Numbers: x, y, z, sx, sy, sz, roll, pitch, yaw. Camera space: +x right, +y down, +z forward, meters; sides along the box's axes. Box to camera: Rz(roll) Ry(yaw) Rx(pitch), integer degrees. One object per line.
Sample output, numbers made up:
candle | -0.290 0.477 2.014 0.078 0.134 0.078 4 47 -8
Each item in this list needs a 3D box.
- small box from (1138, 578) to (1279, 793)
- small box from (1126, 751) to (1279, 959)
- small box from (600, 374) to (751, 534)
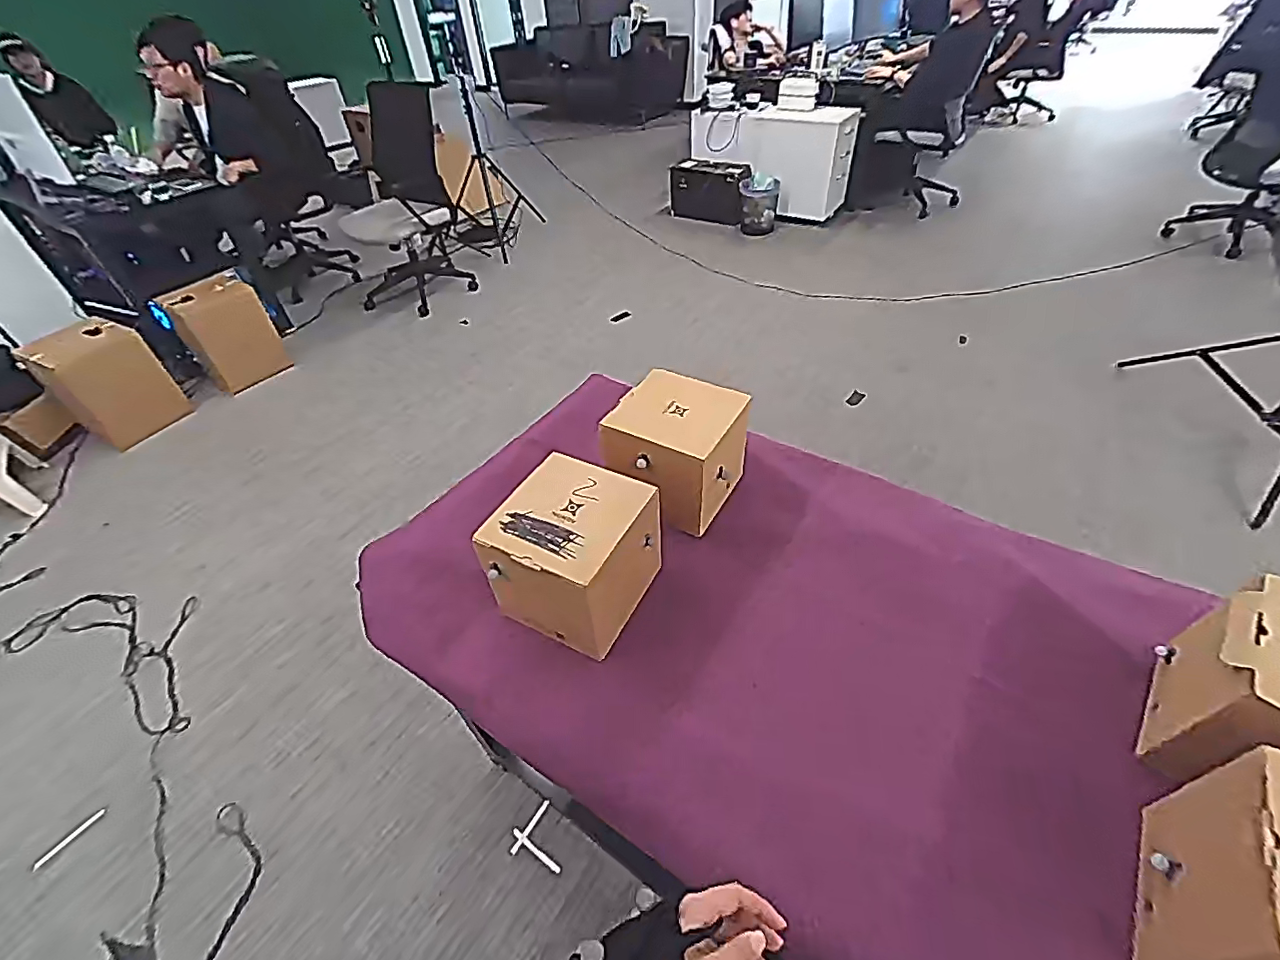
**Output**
small box | 0.644 0.237 0.527 0.179 0.176 0.168 30 55 29
small box | 0.530 0.356 0.413 0.179 0.176 0.168 25 49 28
small box | 0.059 -0.039 0.862 0.179 0.176 0.168 21 49 24
